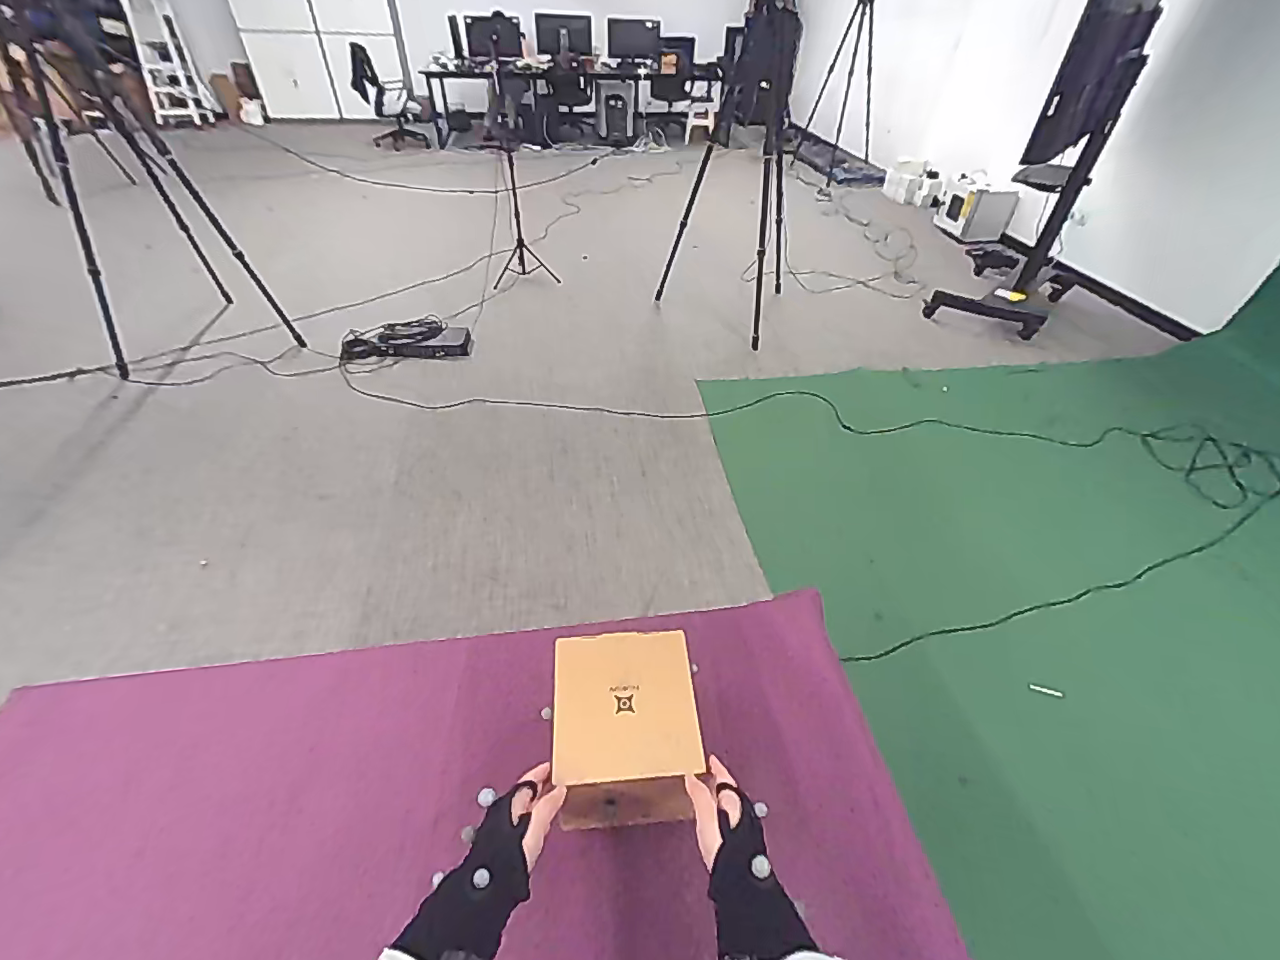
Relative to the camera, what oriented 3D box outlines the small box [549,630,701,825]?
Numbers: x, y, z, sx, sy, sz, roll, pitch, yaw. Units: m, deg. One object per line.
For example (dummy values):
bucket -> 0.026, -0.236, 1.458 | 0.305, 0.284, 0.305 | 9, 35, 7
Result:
small box -> -0.020, 0.315, 0.683 | 0.168, 0.176, 0.179 | -3, 42, -4
